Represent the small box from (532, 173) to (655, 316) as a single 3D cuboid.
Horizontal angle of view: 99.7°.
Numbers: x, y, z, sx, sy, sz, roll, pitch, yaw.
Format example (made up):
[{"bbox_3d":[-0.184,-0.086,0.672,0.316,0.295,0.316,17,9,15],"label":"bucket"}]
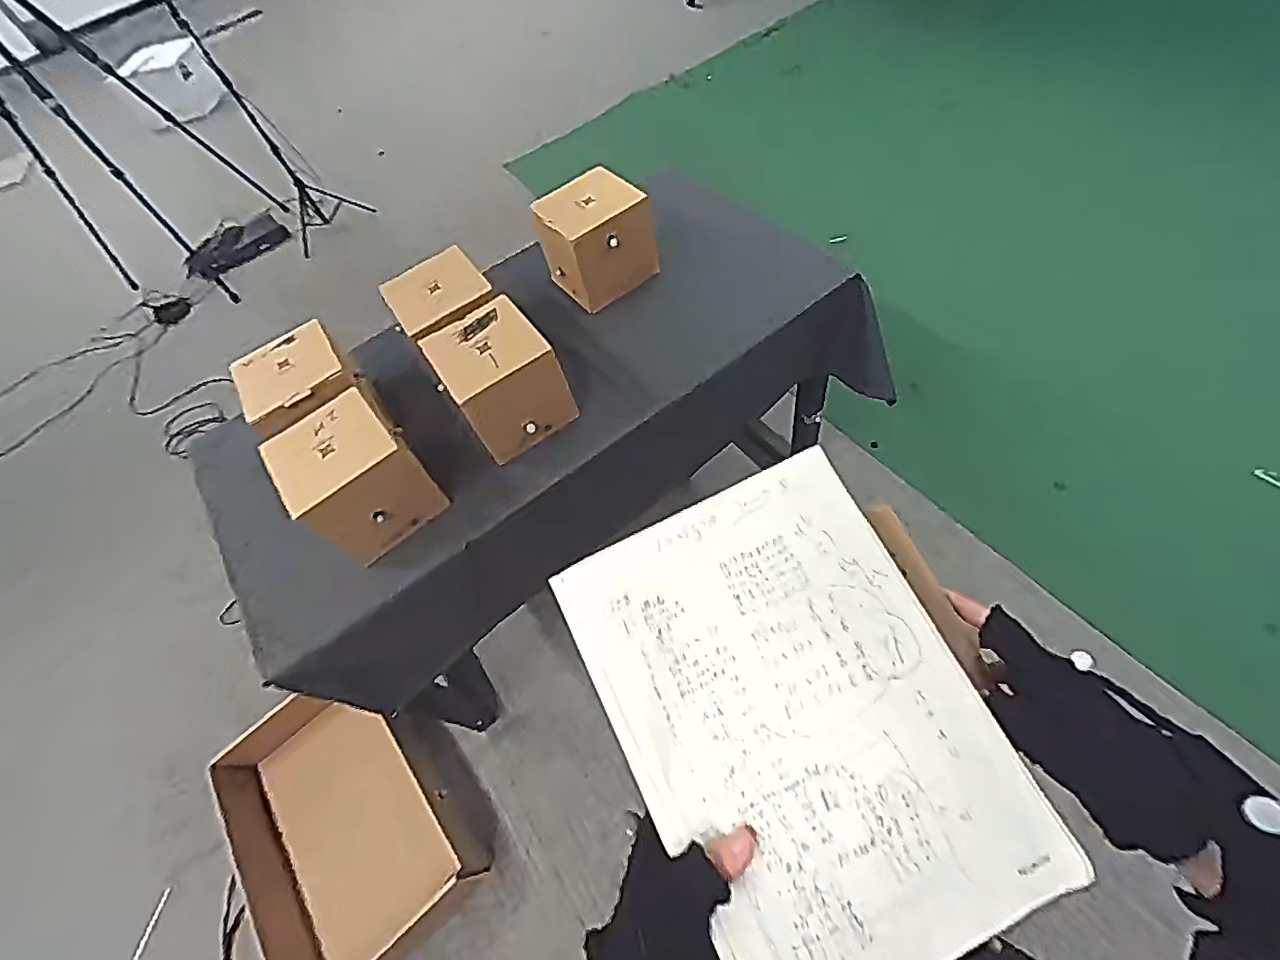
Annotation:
[{"bbox_3d":[-0.083,-0.467,1.084,0.179,0.176,0.168,-36,58,-11],"label":"small box"}]
